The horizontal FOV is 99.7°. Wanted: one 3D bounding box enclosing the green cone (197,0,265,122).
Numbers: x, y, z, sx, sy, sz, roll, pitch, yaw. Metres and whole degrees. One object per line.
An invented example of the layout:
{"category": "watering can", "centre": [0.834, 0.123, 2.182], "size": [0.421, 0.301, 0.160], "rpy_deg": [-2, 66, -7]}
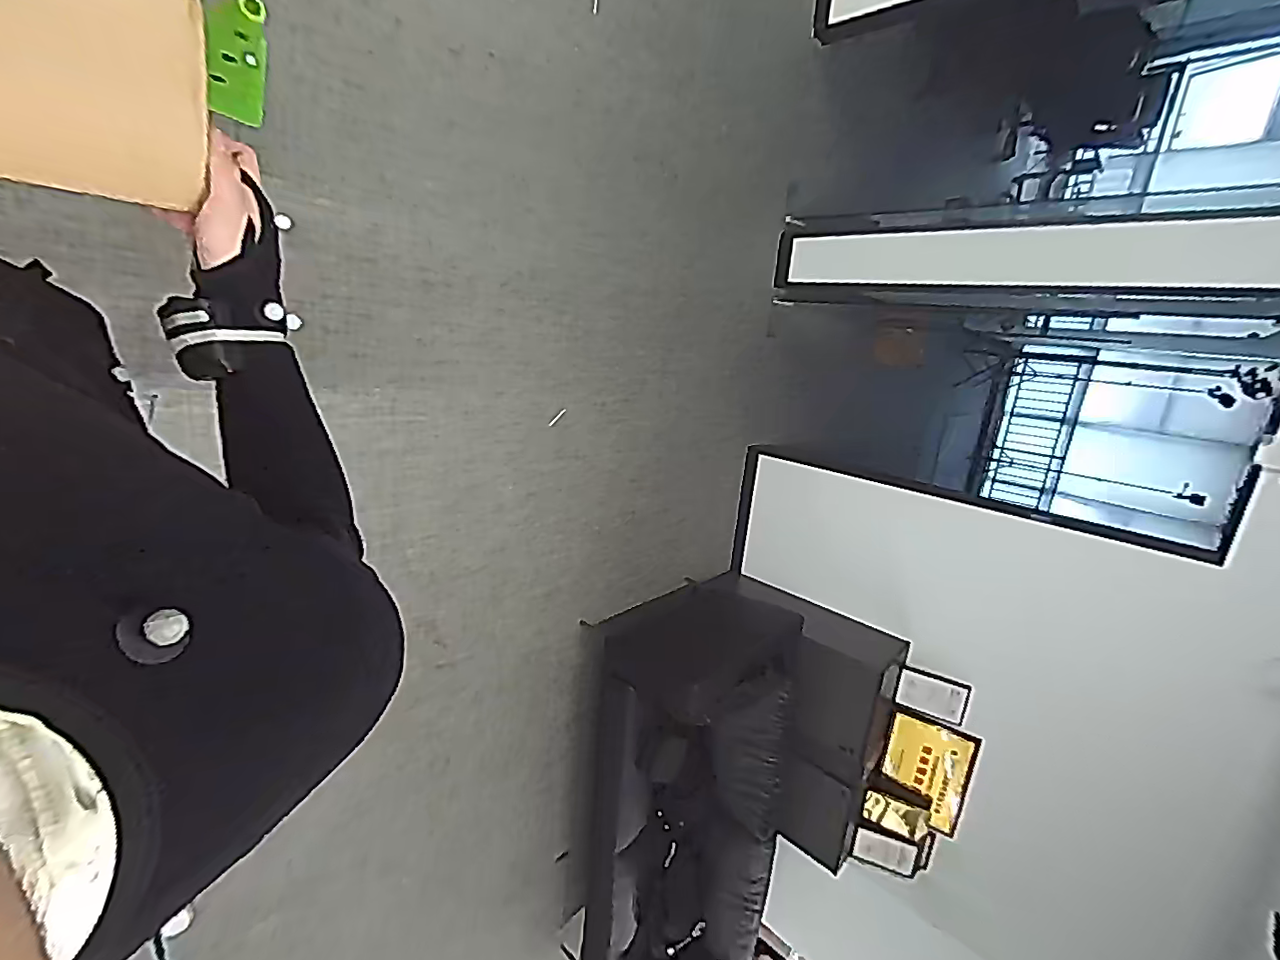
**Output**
{"category": "green cone", "centre": [-0.802, -0.874, 1.052], "size": [0.200, 0.368, 0.202], "rpy_deg": [-2, 105, -49]}
